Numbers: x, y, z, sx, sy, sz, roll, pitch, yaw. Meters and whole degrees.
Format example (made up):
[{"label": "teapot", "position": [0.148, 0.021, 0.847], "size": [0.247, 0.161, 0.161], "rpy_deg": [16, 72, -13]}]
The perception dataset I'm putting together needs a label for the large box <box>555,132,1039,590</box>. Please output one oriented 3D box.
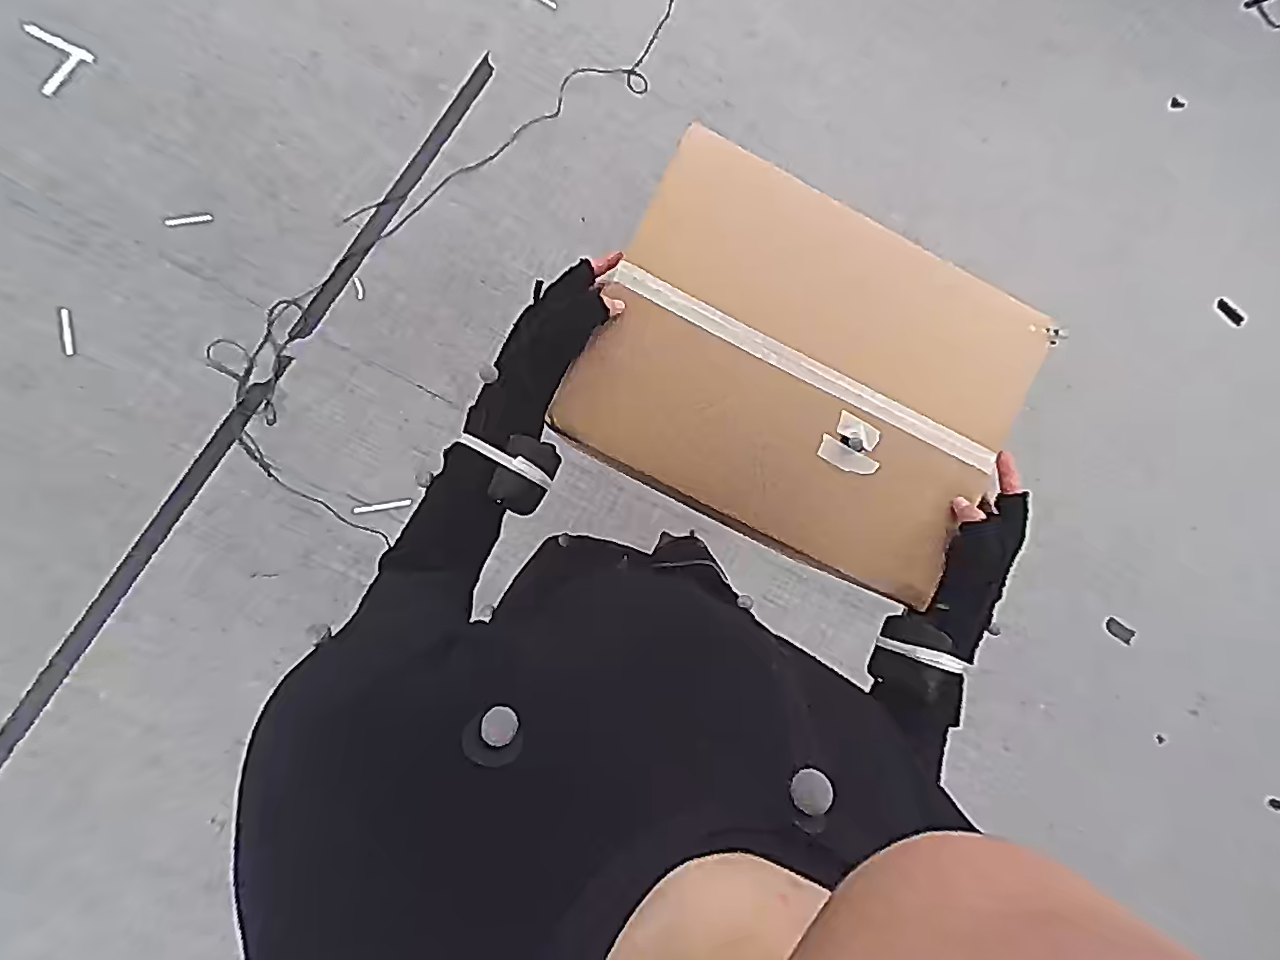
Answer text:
[{"label": "large box", "position": [0.146, -0.113, 0.671], "size": [0.408, 0.320, 0.320], "rpy_deg": [27, 89, -5]}]
